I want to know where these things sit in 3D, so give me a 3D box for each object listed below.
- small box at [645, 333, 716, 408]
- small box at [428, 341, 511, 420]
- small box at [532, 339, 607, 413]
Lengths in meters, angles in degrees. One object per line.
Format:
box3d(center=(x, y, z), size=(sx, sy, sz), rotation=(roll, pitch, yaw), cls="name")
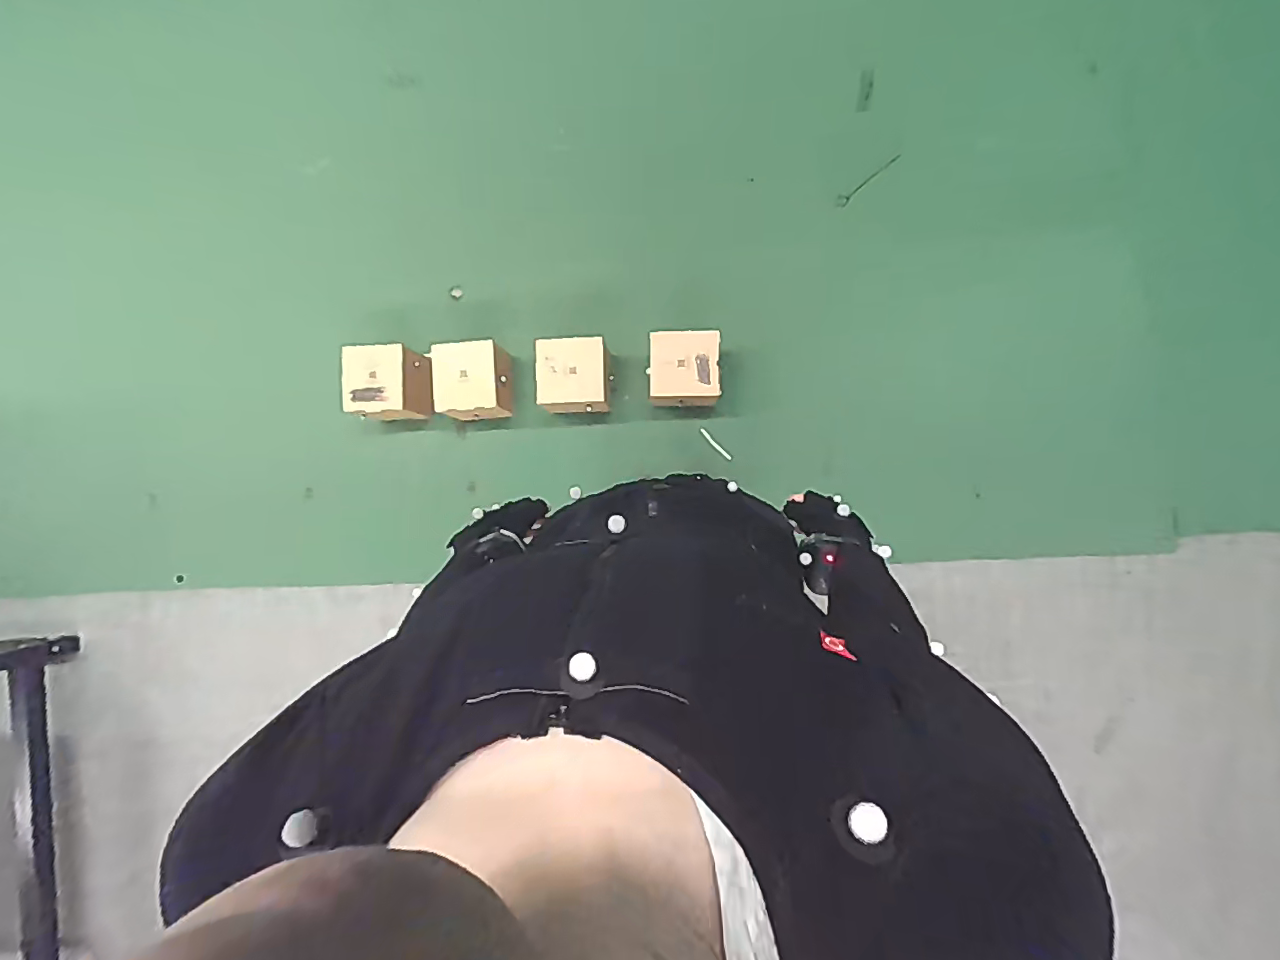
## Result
box3d(center=(0.107, -0.284, 1.424), size=(0.179, 0.176, 0.168), rotation=(1, 89, 5), cls="small box")
box3d(center=(-0.456, -0.265, 1.463), size=(0.168, 0.176, 0.179), rotation=(-4, 90, 4), cls="small box")
box3d(center=(-0.181, -0.272, 1.442), size=(0.179, 0.176, 0.168), rotation=(-1, 89, 4), cls="small box")
